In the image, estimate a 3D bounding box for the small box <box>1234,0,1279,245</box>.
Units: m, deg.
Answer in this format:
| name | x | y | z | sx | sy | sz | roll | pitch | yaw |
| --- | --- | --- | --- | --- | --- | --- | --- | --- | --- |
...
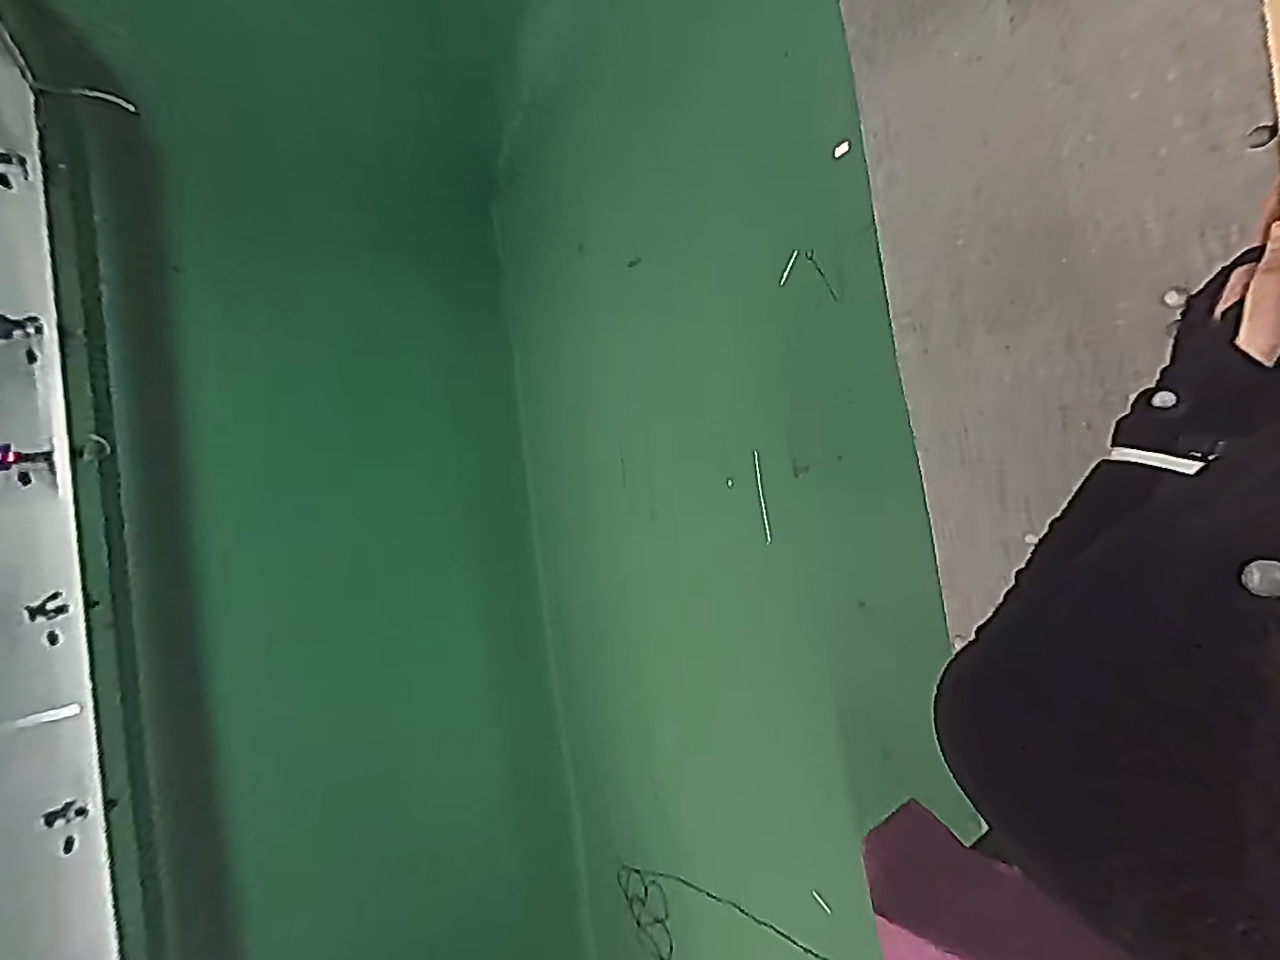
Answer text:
| name | x | y | z | sx | sy | sz | roll | pitch | yaw |
| --- | --- | --- | --- | --- | --- | --- | --- | --- | --- |
| small box | 0.443 | -0.227 | 0.270 | 0.179 | 0.176 | 0.168 | -6 | 98 | 52 |
